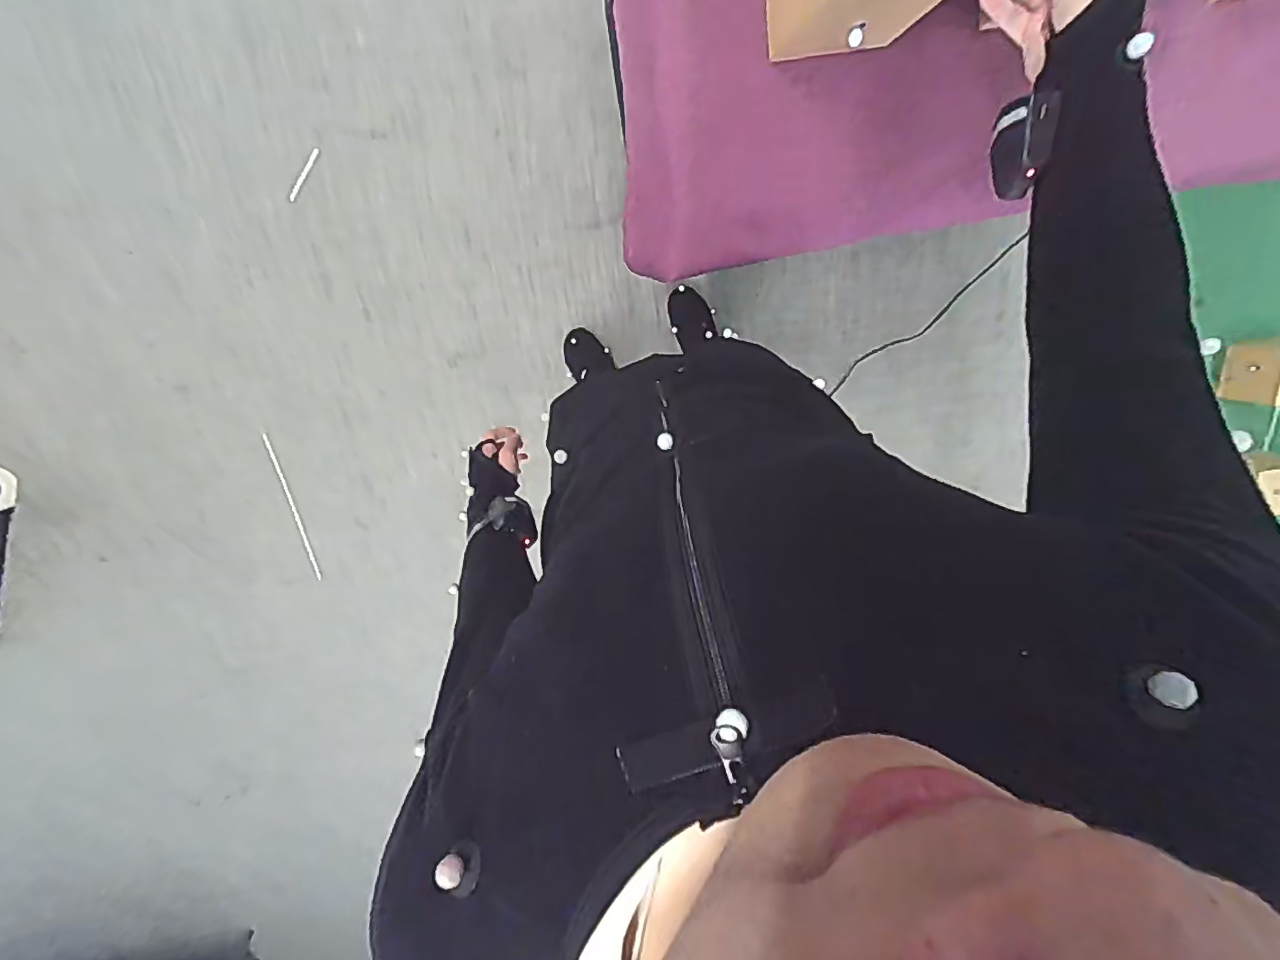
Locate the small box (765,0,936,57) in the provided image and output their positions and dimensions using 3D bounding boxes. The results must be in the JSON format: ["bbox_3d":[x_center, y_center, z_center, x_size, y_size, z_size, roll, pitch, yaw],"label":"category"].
[{"bbox_3d":[0.244,-0.614,0.612,0.168,0.176,0.179,-10,110,-2],"label":"small box"}]

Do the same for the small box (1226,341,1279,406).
[{"bbox_3d":[1.948,-0.322,1.631,0.179,0.176,0.168,-9,109,-2],"label":"small box"}]

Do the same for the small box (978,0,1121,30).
[{"bbox_3d":[0.532,-0.660,0.621,0.179,0.176,0.168,-10,110,-1],"label":"small box"}]
